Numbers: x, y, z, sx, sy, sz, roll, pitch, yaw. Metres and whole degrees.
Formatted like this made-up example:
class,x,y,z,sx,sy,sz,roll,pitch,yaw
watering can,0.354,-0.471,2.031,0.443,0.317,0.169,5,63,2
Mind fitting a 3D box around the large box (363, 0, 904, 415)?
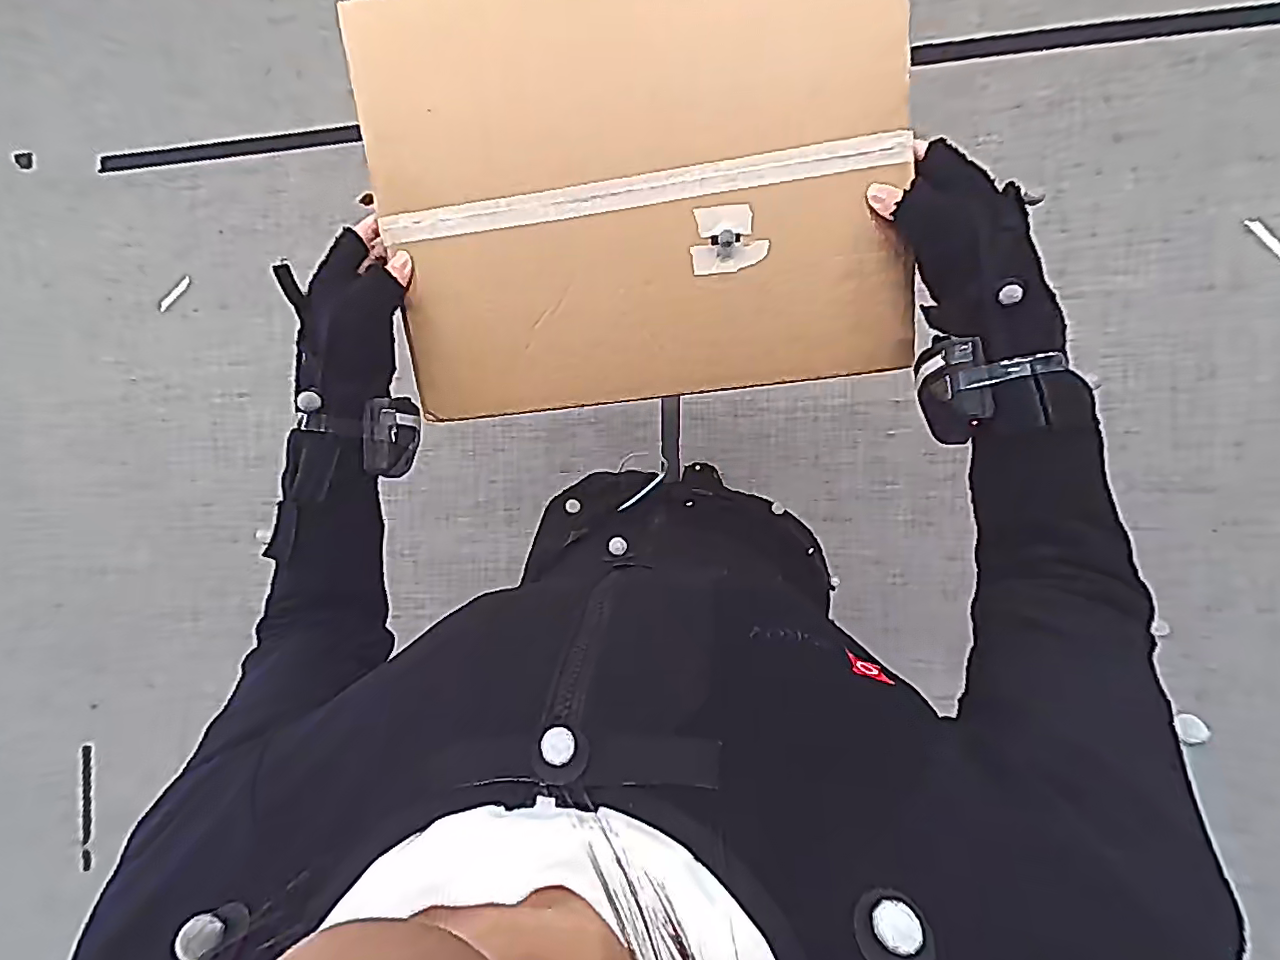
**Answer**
class,x,y,z,sx,sy,sz,roll,pitch,yaw
large box,0.010,-0.261,0.572,0.408,0.320,0.320,-6,104,6
